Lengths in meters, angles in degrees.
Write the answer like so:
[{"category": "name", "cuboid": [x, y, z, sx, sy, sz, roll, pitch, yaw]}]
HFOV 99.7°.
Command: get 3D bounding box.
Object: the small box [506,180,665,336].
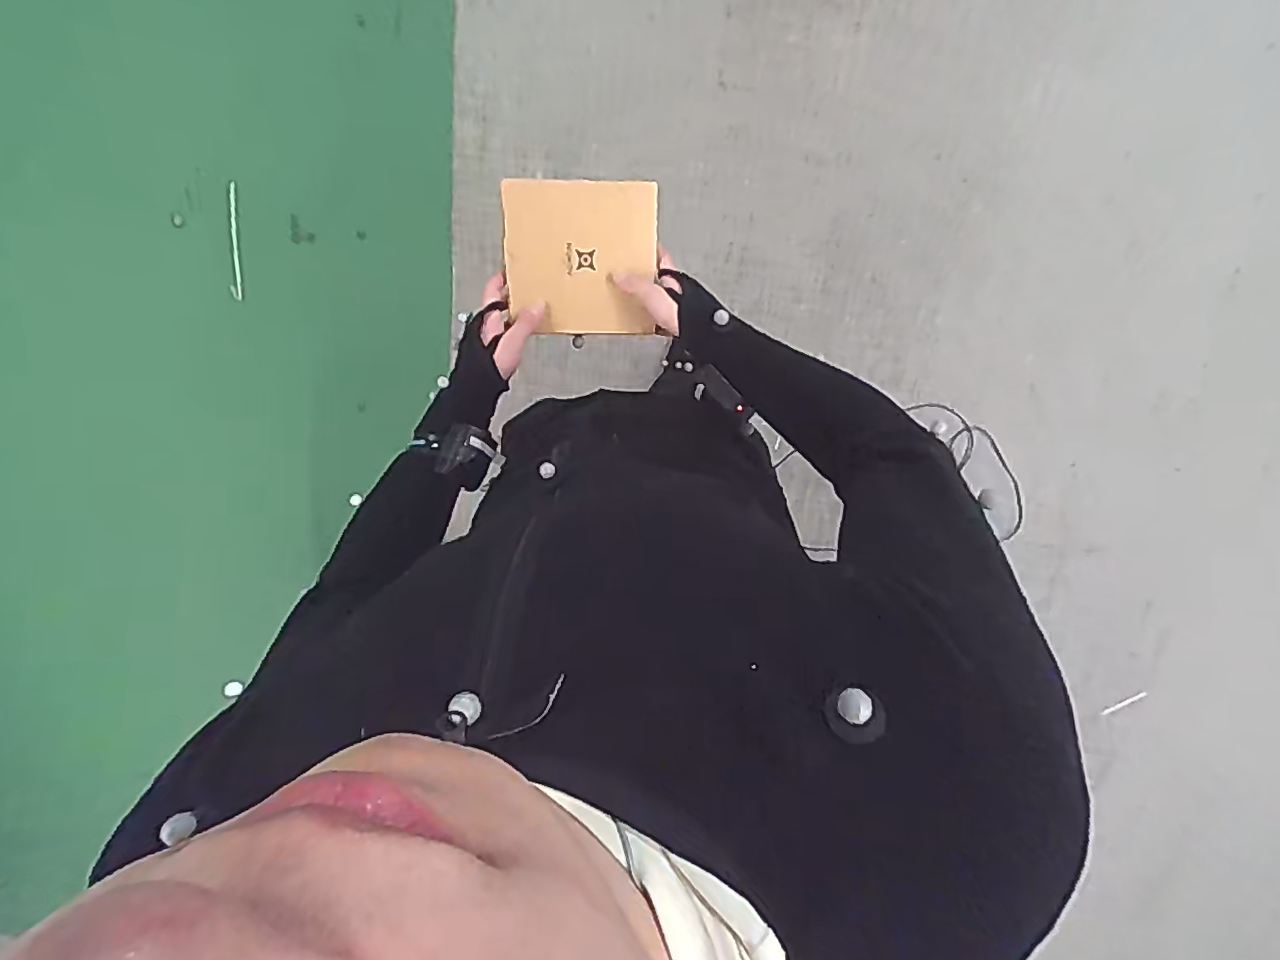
[{"category": "small box", "cuboid": [-0.064, -0.272, 0.688, 0.179, 0.176, 0.168, -2, 106, -2]}]
